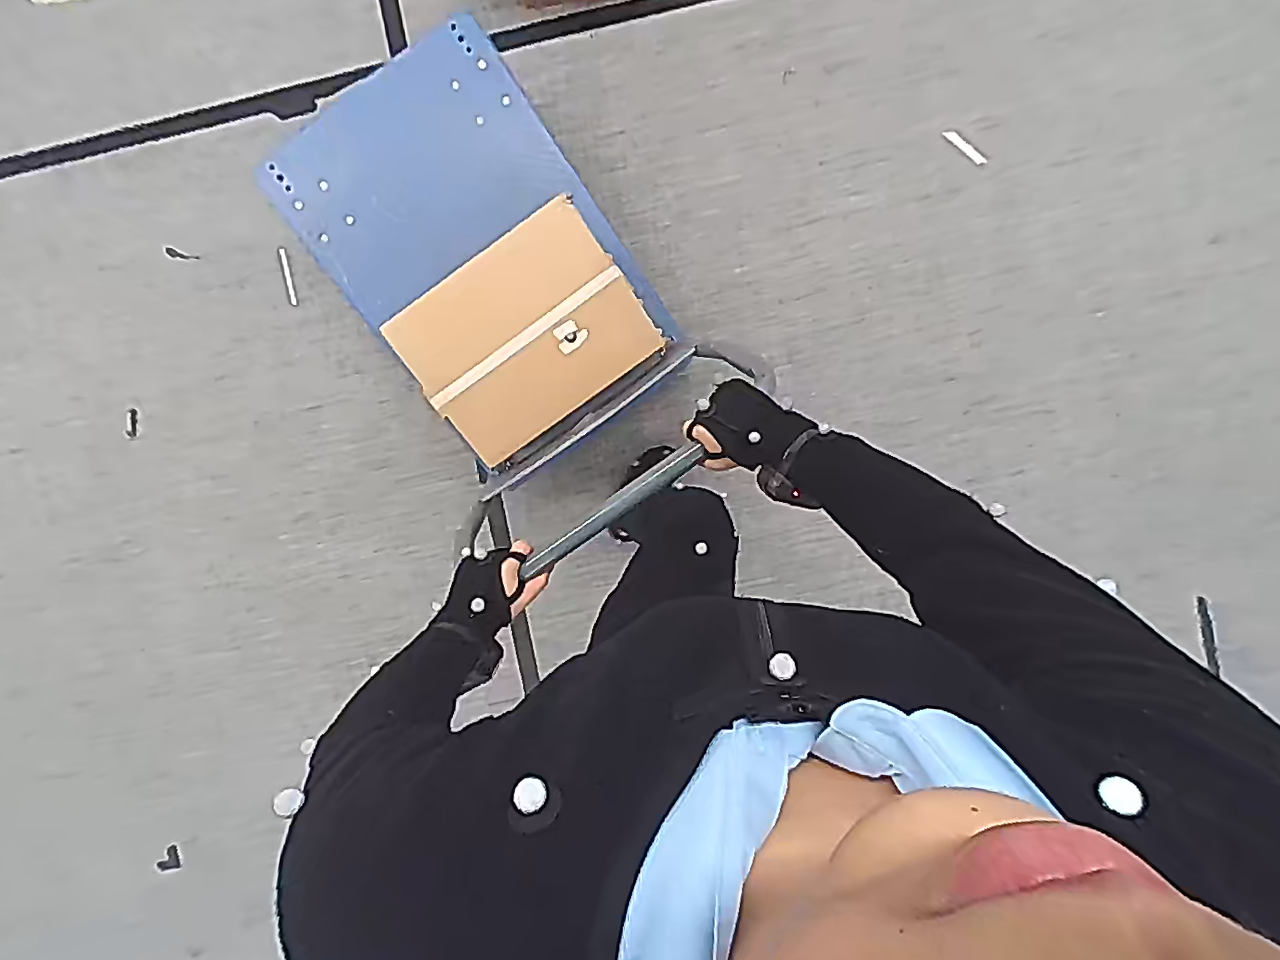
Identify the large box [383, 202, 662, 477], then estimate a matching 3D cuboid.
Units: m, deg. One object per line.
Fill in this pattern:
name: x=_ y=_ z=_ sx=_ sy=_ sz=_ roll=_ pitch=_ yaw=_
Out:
large box: x=-0.218 y=-0.265 z=1.103 sx=0.408 sy=0.320 sz=0.320 roll=-36 pitch=103 yaw=2
